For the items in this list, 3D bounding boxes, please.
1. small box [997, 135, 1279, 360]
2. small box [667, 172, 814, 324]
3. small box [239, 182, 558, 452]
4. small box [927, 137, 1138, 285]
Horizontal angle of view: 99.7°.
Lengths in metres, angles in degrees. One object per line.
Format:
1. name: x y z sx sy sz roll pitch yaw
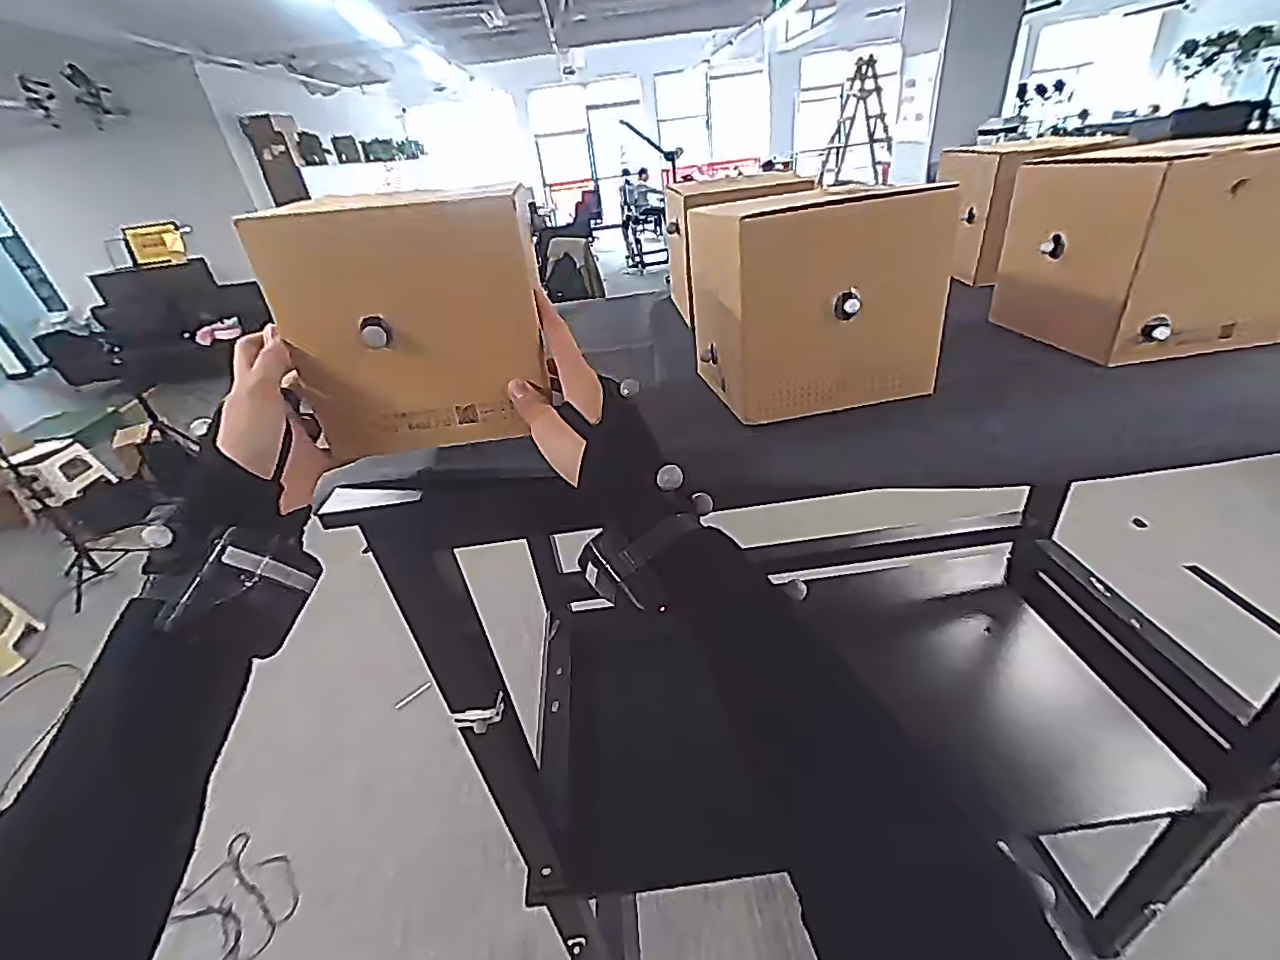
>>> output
1. small box: 0.489 -0.220 0.521 0.168 0.176 0.179 -8 29 0
2. small box: 0.136 -0.326 0.768 0.168 0.176 0.179 -8 32 -1
3. small box: -0.160 -0.130 0.432 0.168 0.176 0.179 -8 32 -5
4. small box: 0.544 -0.386 0.782 0.168 0.176 0.179 -4 31 3
